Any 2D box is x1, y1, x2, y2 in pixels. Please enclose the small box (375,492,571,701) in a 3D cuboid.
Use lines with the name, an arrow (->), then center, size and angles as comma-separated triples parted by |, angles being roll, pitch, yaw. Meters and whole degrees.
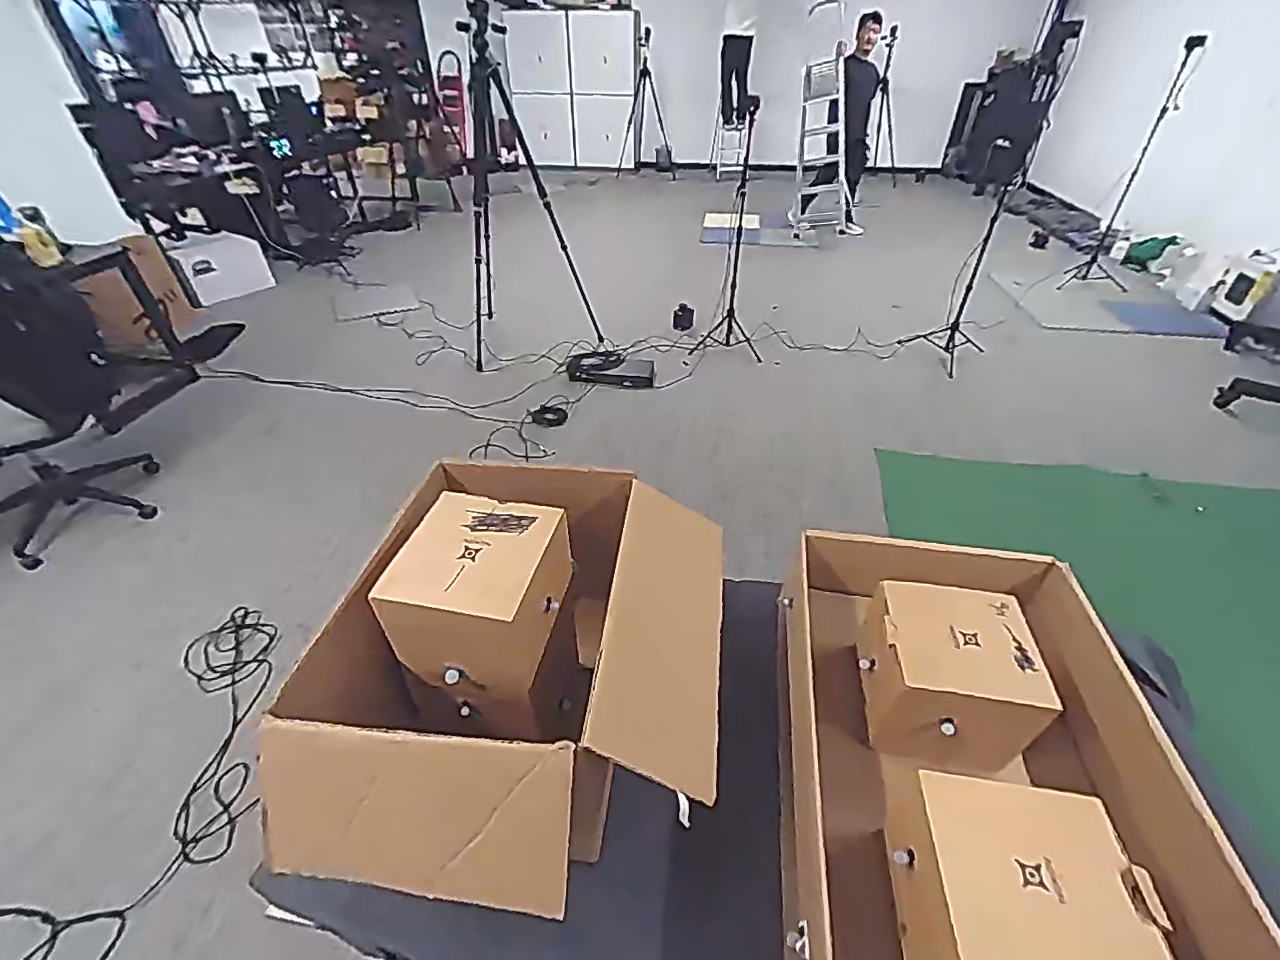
small box -> -0.189, 0.143, 0.677 | 0.168, 0.176, 0.179 | 8, 42, 9
